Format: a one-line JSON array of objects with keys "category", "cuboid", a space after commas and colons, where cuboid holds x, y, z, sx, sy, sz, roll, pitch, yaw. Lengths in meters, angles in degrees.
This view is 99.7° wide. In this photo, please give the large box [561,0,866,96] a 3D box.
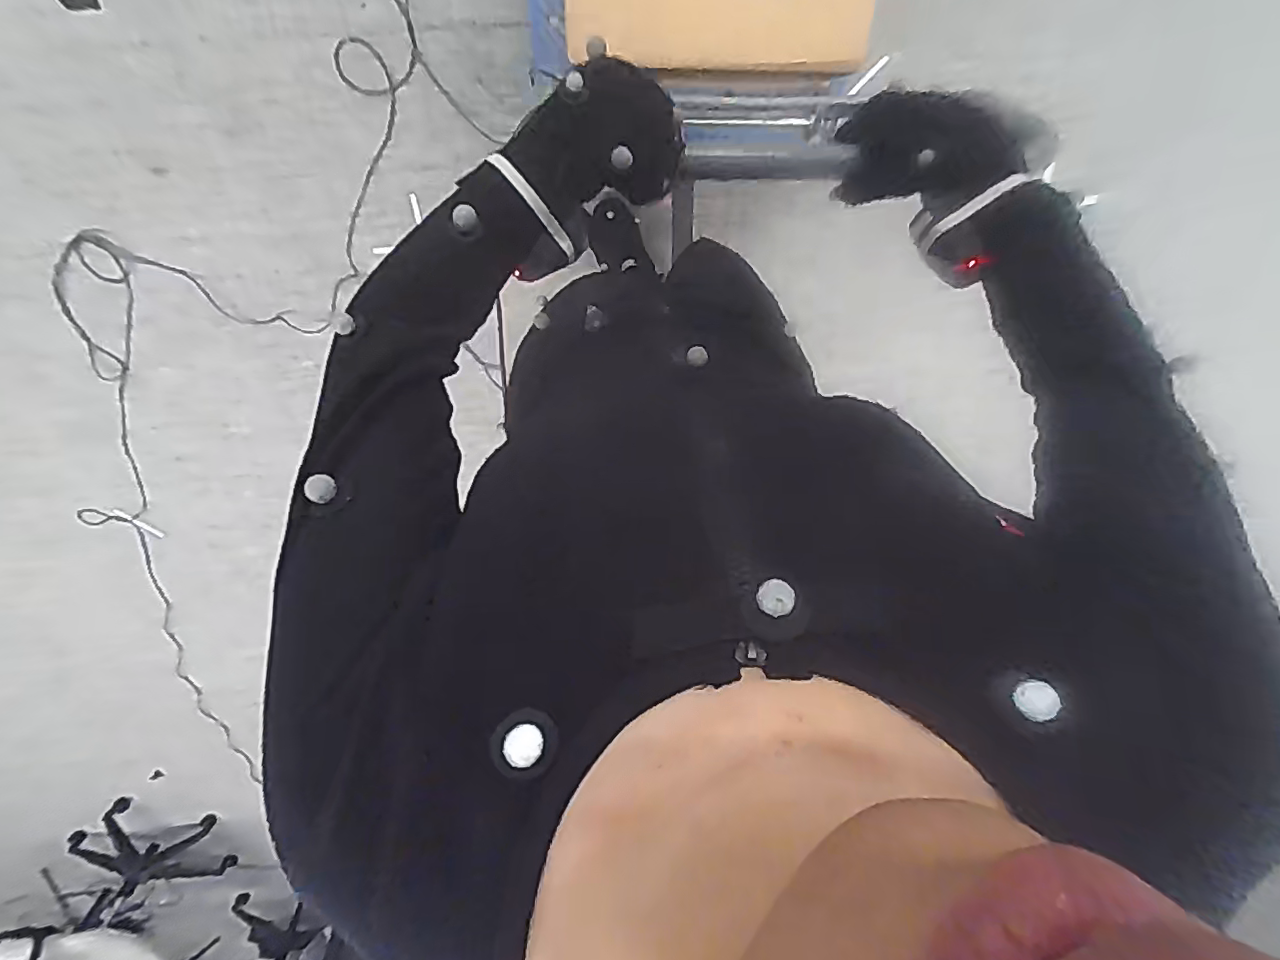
[{"category": "large box", "cuboid": [0.085, -0.756, 0.779, 0.408, 0.320, 0.320, -2, 123, -5]}]
